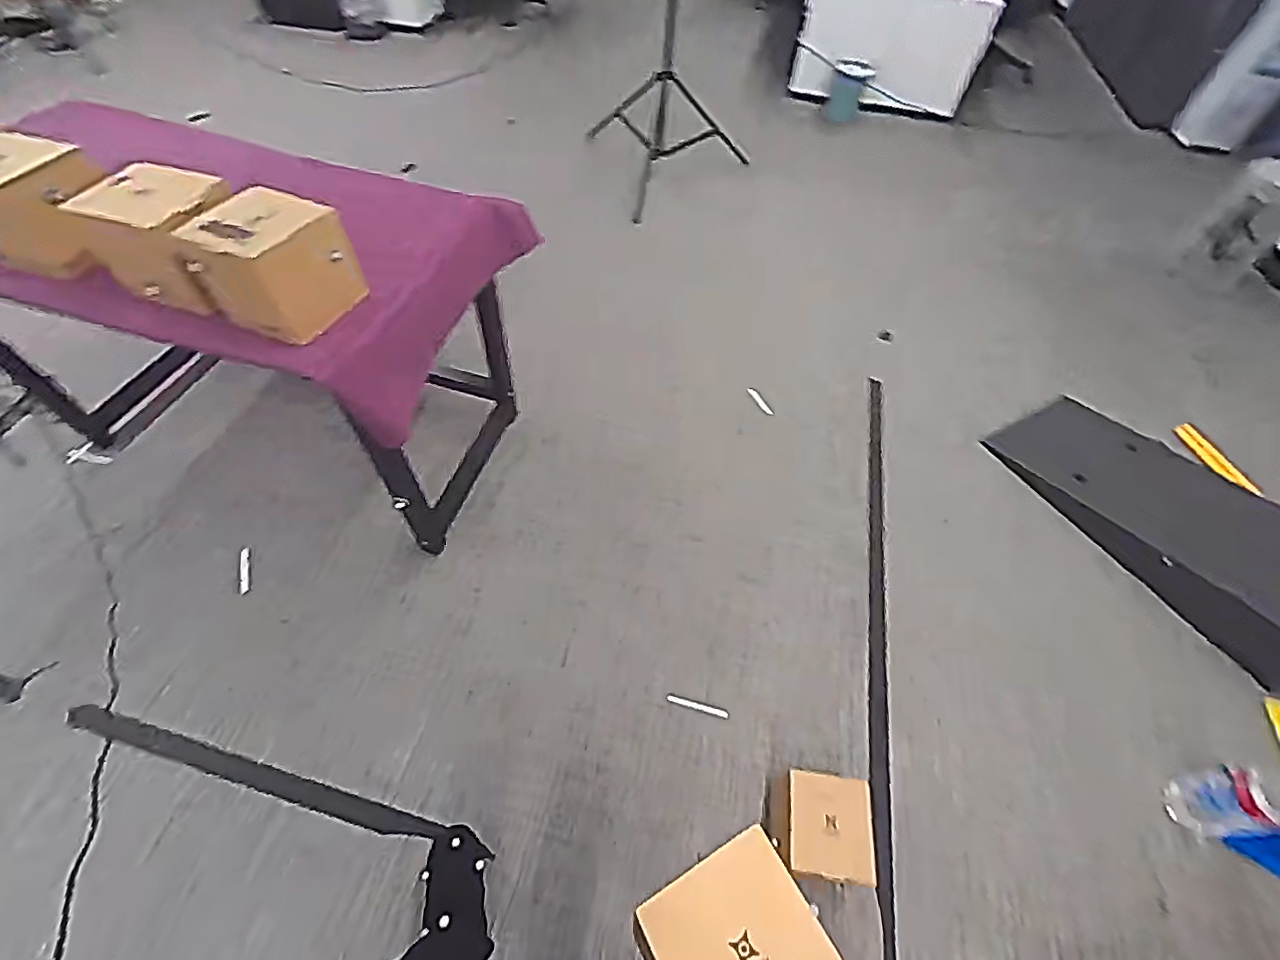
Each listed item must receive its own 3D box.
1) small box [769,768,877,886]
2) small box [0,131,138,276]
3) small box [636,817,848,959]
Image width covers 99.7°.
[{"bbox_3d":[0.375,0.728,1.134,0.168,0.176,0.179,10,54,1],"label":"small box"},{"bbox_3d":[-1.100,-0.503,0.992,0.168,0.176,0.179,13,55,5],"label":"small box"},{"bbox_3d":[0.104,0.524,0.598,0.168,0.176,0.179,-22,51,-22],"label":"small box"}]
